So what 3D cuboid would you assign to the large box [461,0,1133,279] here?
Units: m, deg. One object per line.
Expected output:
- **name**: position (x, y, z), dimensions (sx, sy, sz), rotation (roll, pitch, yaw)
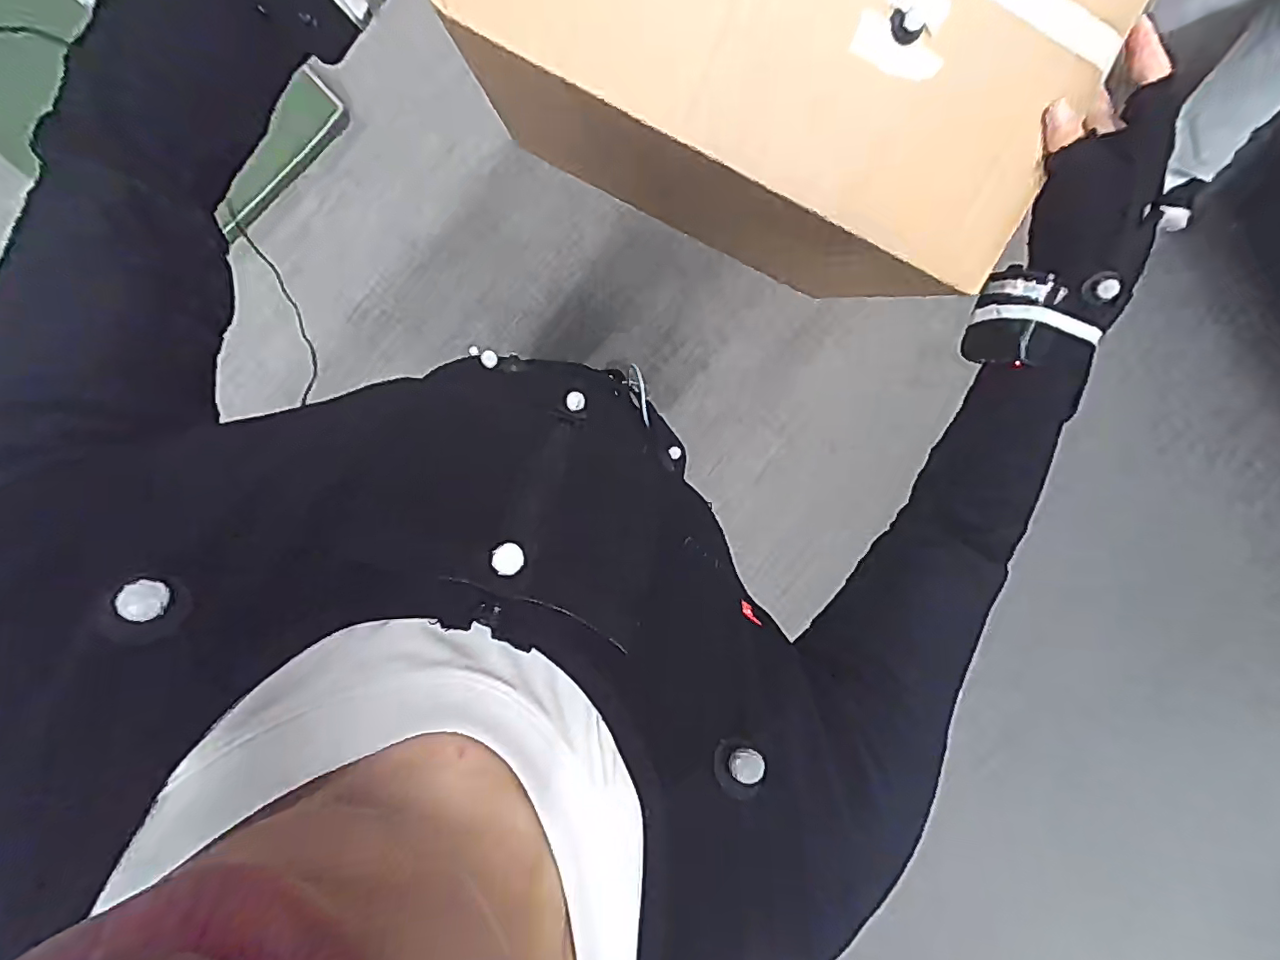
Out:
- **large box**: position (0.113, -0.403, 0.461), dimensions (0.408, 0.320, 0.320), rotation (21, 106, -11)
